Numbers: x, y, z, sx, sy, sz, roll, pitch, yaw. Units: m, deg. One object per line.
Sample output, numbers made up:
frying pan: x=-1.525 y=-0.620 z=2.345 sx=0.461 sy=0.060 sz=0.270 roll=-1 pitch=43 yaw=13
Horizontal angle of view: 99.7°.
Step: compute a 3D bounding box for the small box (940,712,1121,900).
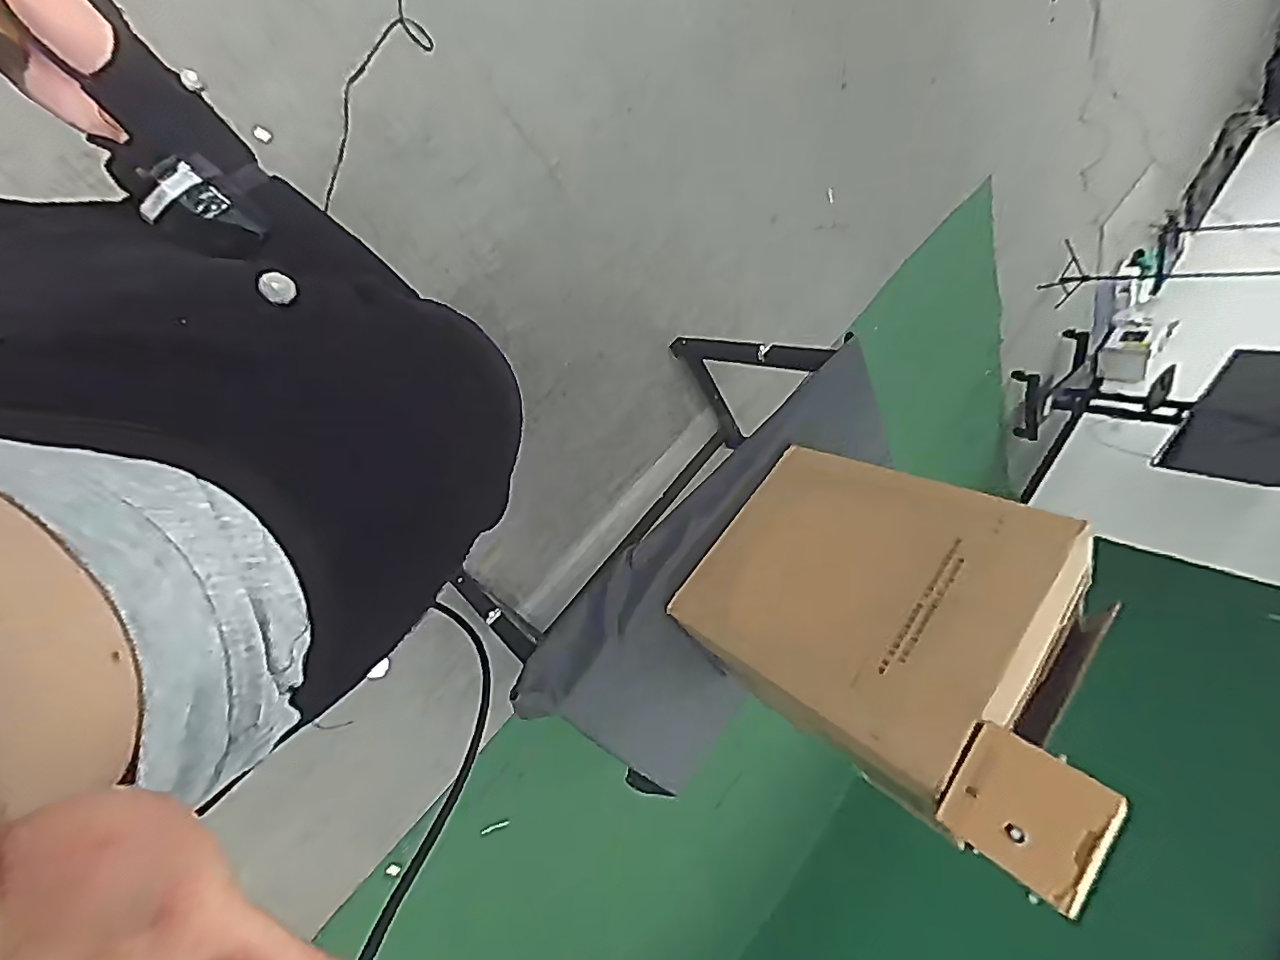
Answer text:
small box: x=0.574 y=0.476 z=0.803 sx=0.168 sy=0.176 sz=0.179 roll=-55 pitch=131 yaw=-9
